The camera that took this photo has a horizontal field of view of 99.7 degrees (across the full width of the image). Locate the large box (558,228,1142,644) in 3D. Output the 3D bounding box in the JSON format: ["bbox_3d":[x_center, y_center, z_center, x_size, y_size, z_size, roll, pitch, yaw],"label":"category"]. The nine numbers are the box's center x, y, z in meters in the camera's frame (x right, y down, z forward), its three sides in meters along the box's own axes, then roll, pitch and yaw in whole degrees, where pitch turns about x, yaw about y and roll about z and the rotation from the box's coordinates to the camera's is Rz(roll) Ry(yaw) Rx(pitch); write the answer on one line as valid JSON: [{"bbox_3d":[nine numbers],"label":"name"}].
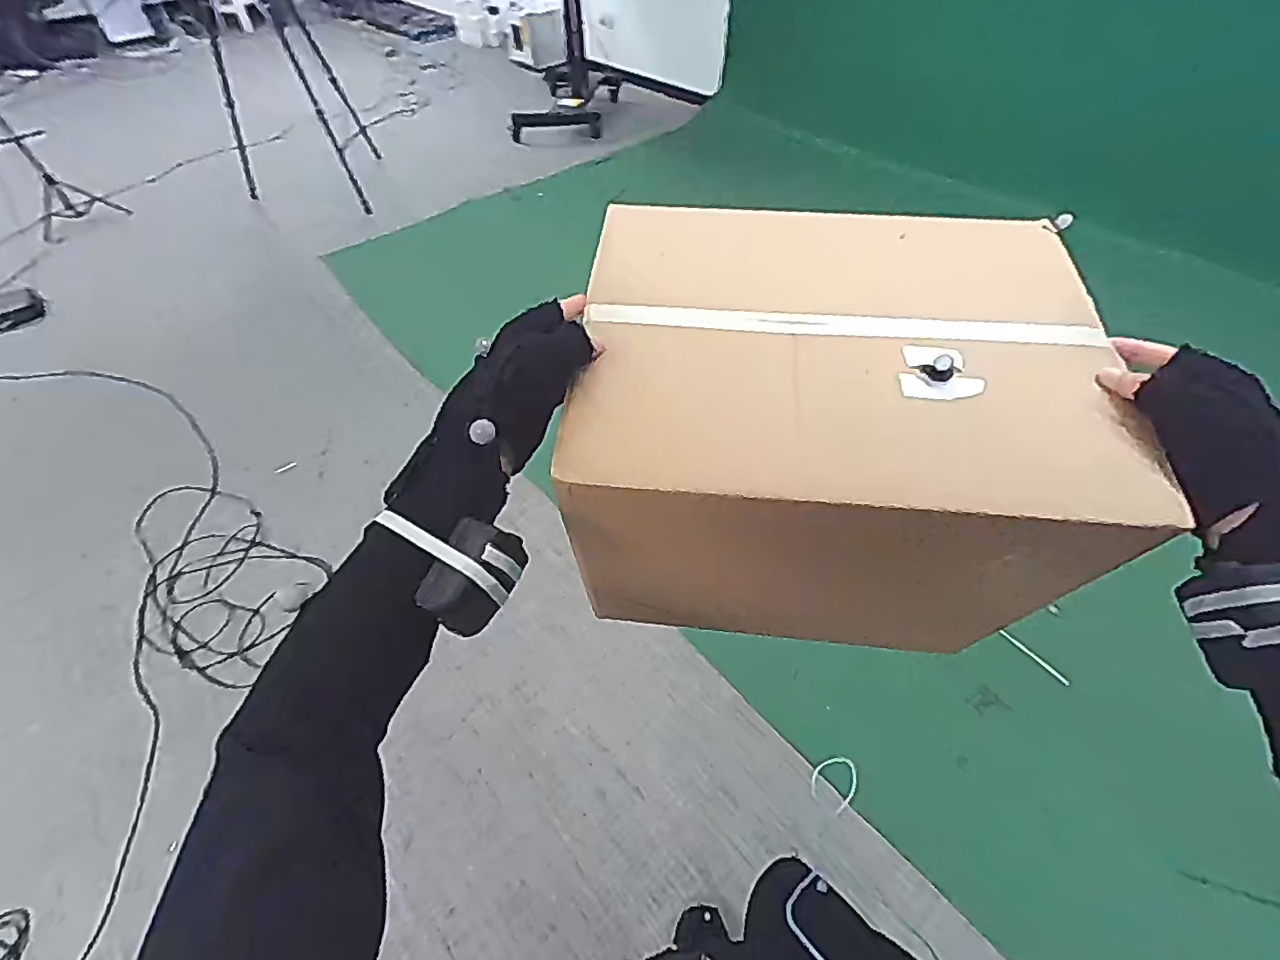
[{"bbox_3d":[0.150,-0.033,0.573,0.408,0.320,0.320,4,58,4],"label":"large box"}]
